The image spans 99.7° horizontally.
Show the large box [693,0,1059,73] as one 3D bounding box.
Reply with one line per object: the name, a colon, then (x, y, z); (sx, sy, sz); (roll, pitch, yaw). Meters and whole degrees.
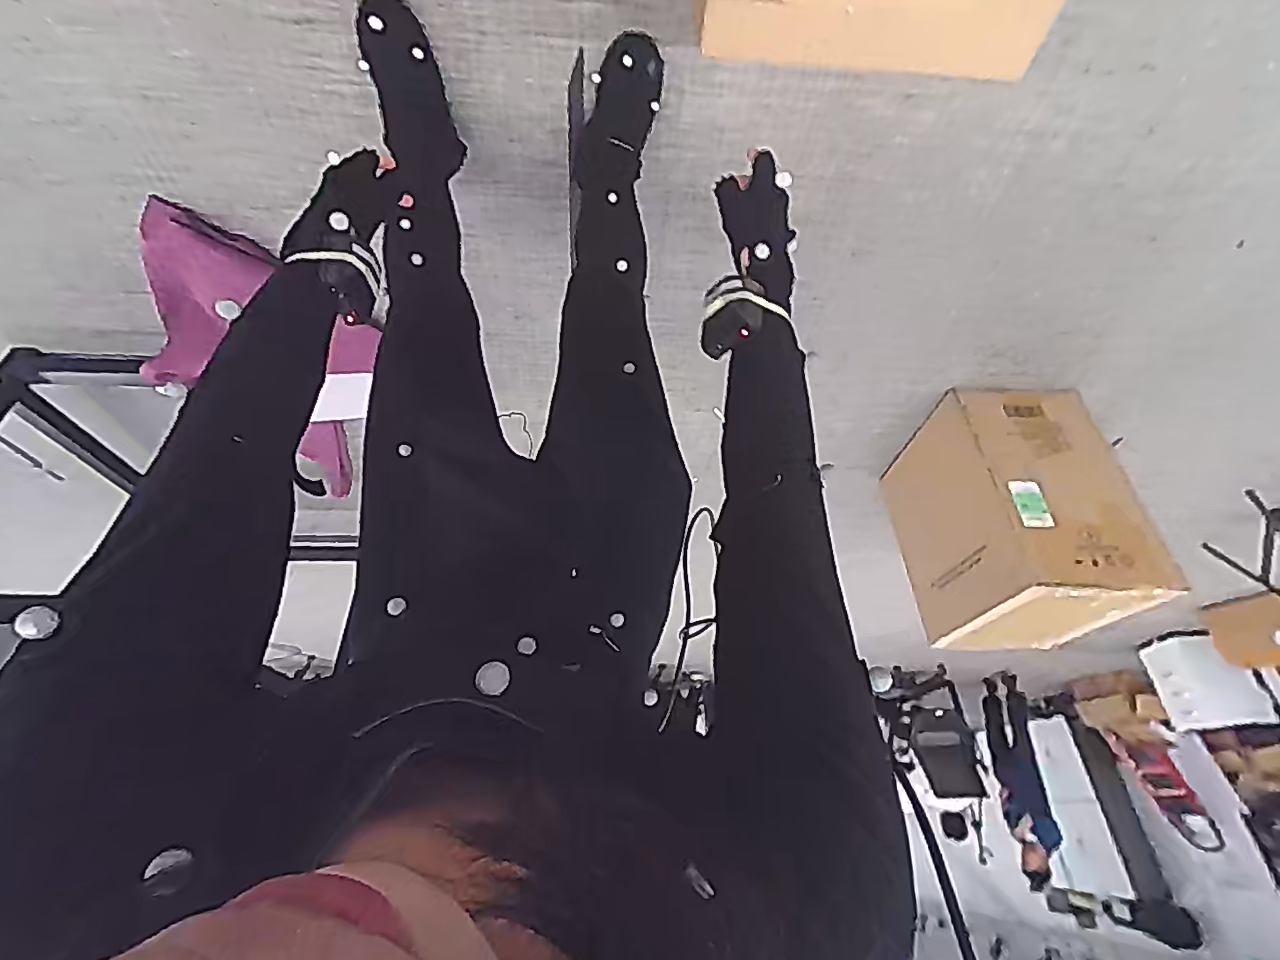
large box: (0.276, -0.713, 0.614); (0.408, 0.320, 0.320); (0, 148, -5)
